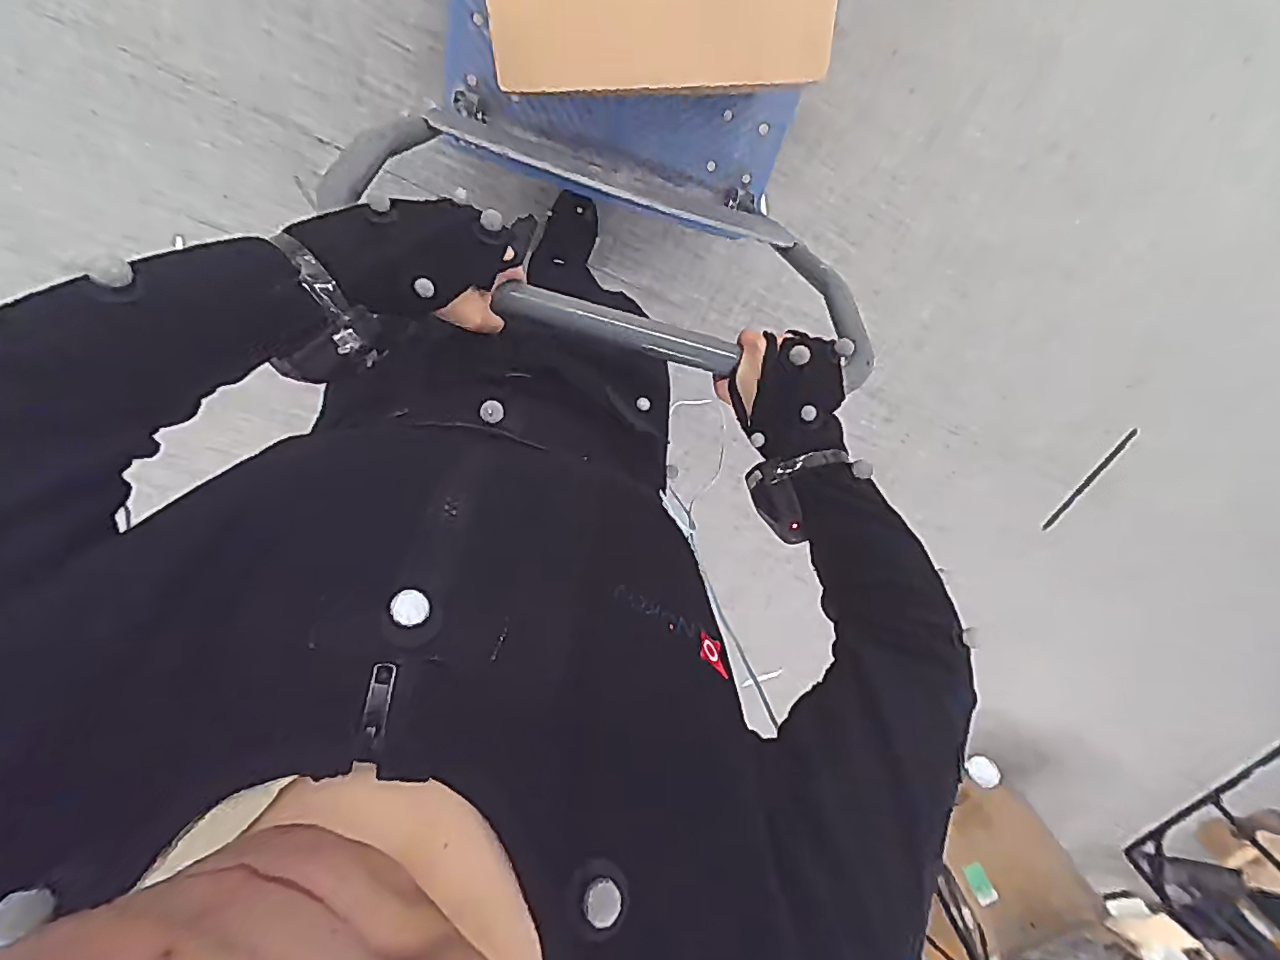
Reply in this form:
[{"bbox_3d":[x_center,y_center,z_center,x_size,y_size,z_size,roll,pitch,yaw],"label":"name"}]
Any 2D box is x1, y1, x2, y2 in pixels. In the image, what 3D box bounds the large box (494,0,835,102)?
[{"bbox_3d":[0.012,-0.695,0.702,0.408,0.320,0.320,-5,125,-4],"label":"large box"}]
